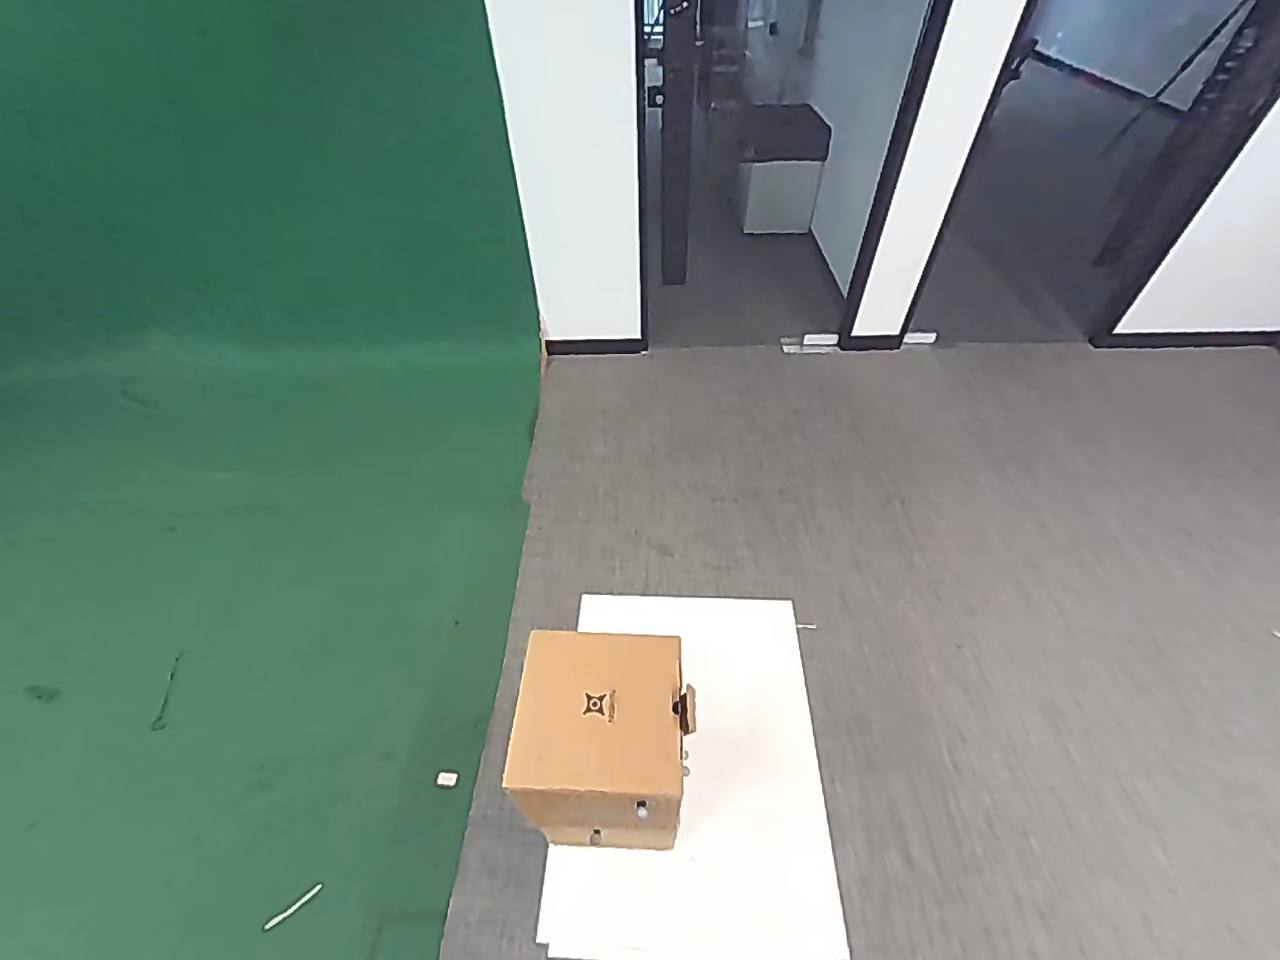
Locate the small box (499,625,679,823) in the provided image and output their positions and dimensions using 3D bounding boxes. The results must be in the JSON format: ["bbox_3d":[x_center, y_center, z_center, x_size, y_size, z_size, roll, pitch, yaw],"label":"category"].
[{"bbox_3d":[-0.046,0.284,0.625,0.179,0.176,0.168,2,48,1],"label":"small box"}]

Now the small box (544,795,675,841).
[{"bbox_3d":[-0.040,0.389,0.750,0.179,0.176,0.168,1,48,2],"label":"small box"}]
